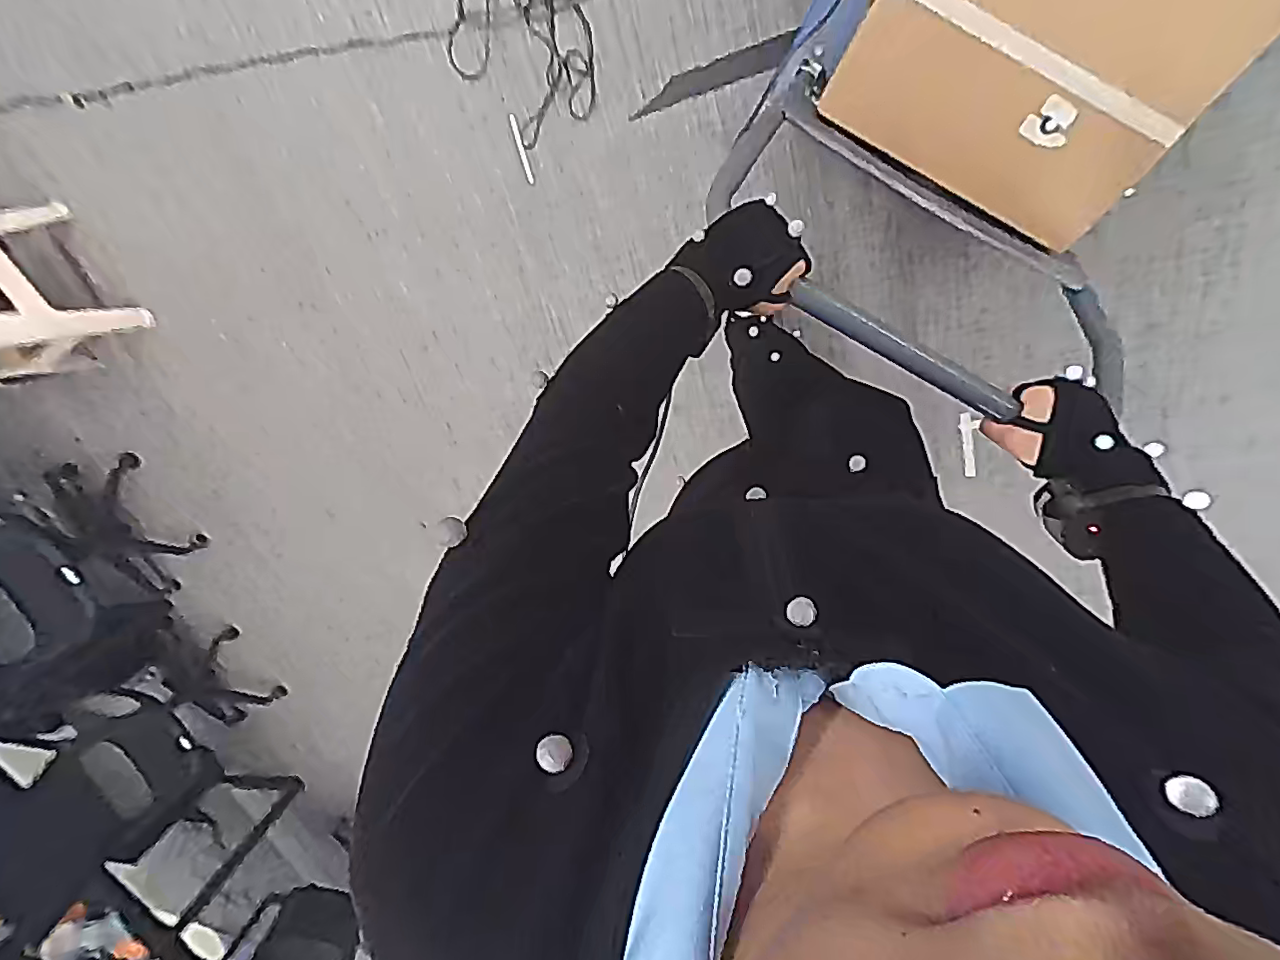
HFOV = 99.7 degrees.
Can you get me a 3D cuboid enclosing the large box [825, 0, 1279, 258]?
[{"bbox_3d":[0.520,-0.584,0.749,0.408,0.320,0.320,29,134,-3],"label":"large box"}]
